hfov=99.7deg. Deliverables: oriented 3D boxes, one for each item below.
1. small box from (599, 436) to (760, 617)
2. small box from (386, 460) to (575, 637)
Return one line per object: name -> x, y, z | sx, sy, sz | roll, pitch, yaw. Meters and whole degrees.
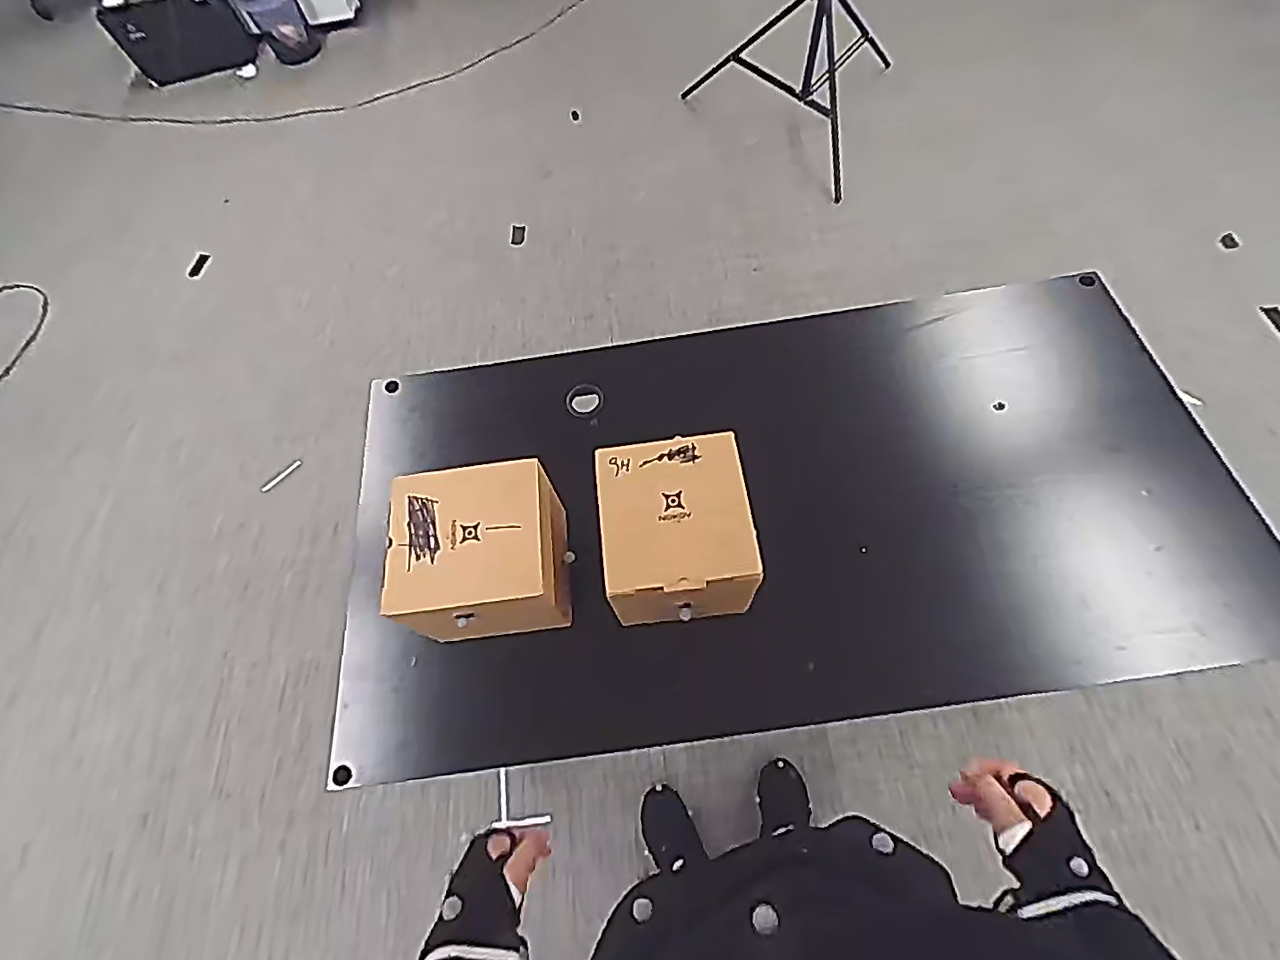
small box -> 0.044, 0.068, 0.669 | 0.168, 0.176, 0.179 | -6, 65, 1
small box -> -0.186, 0.094, 0.677 | 0.179, 0.176, 0.168 | -7, 65, 1
